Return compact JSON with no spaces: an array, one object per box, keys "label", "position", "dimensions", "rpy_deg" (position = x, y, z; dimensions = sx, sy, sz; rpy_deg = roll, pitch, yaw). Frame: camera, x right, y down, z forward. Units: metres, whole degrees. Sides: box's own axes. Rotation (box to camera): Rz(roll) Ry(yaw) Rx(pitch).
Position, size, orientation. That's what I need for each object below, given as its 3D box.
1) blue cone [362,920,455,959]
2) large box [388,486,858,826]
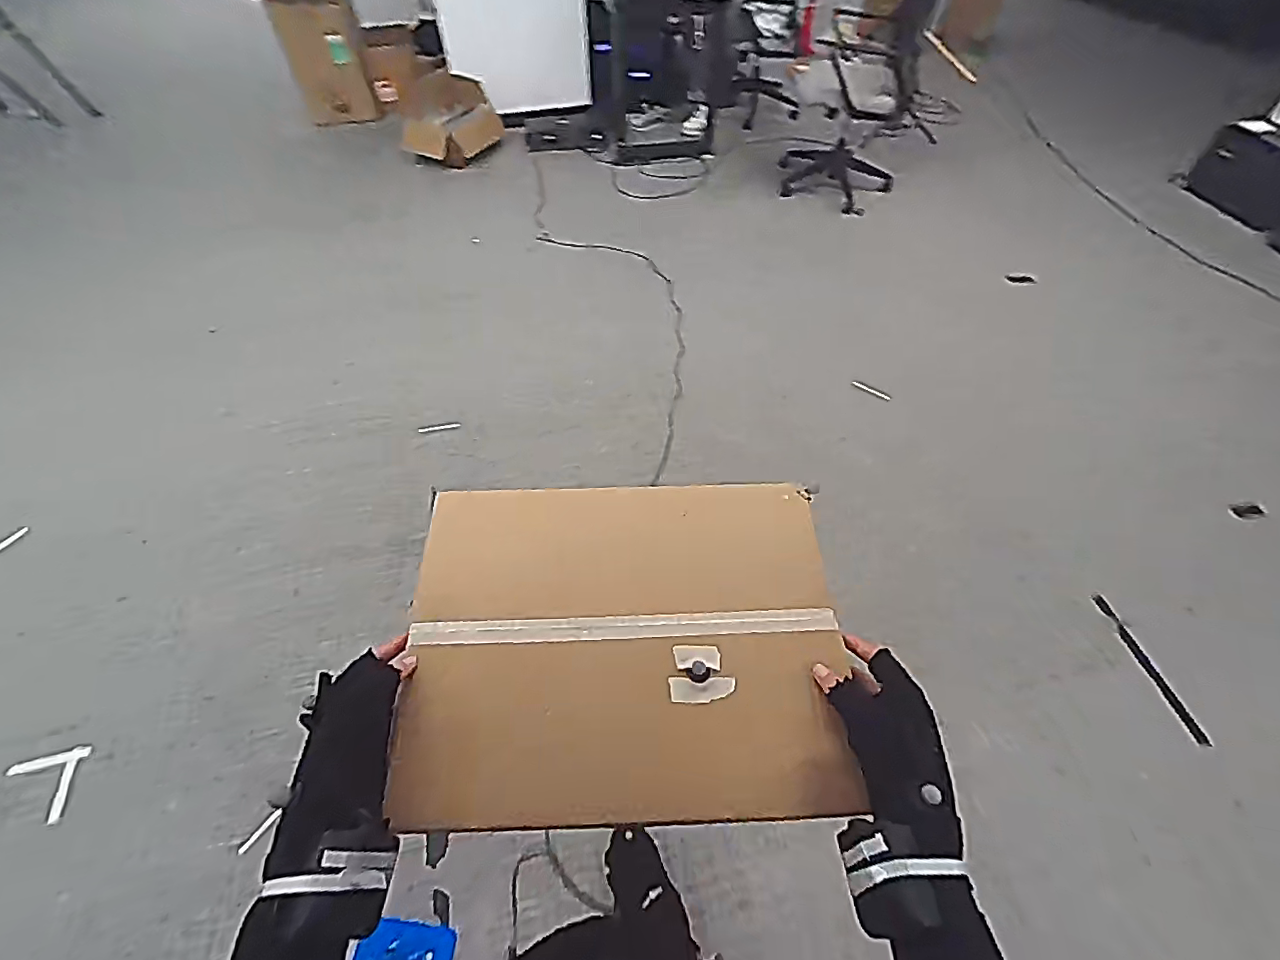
[{"label":"blue cone","position":[-0.480,0.908,0.942],"dimensions":[0.193,0.380,0.192],"rpy_deg":[7,54,7]},{"label":"large box","position":[-0.021,0.223,0.655],"dimensions":[0.408,0.320,0.320],"rpy_deg":[-2,58,-1]}]
